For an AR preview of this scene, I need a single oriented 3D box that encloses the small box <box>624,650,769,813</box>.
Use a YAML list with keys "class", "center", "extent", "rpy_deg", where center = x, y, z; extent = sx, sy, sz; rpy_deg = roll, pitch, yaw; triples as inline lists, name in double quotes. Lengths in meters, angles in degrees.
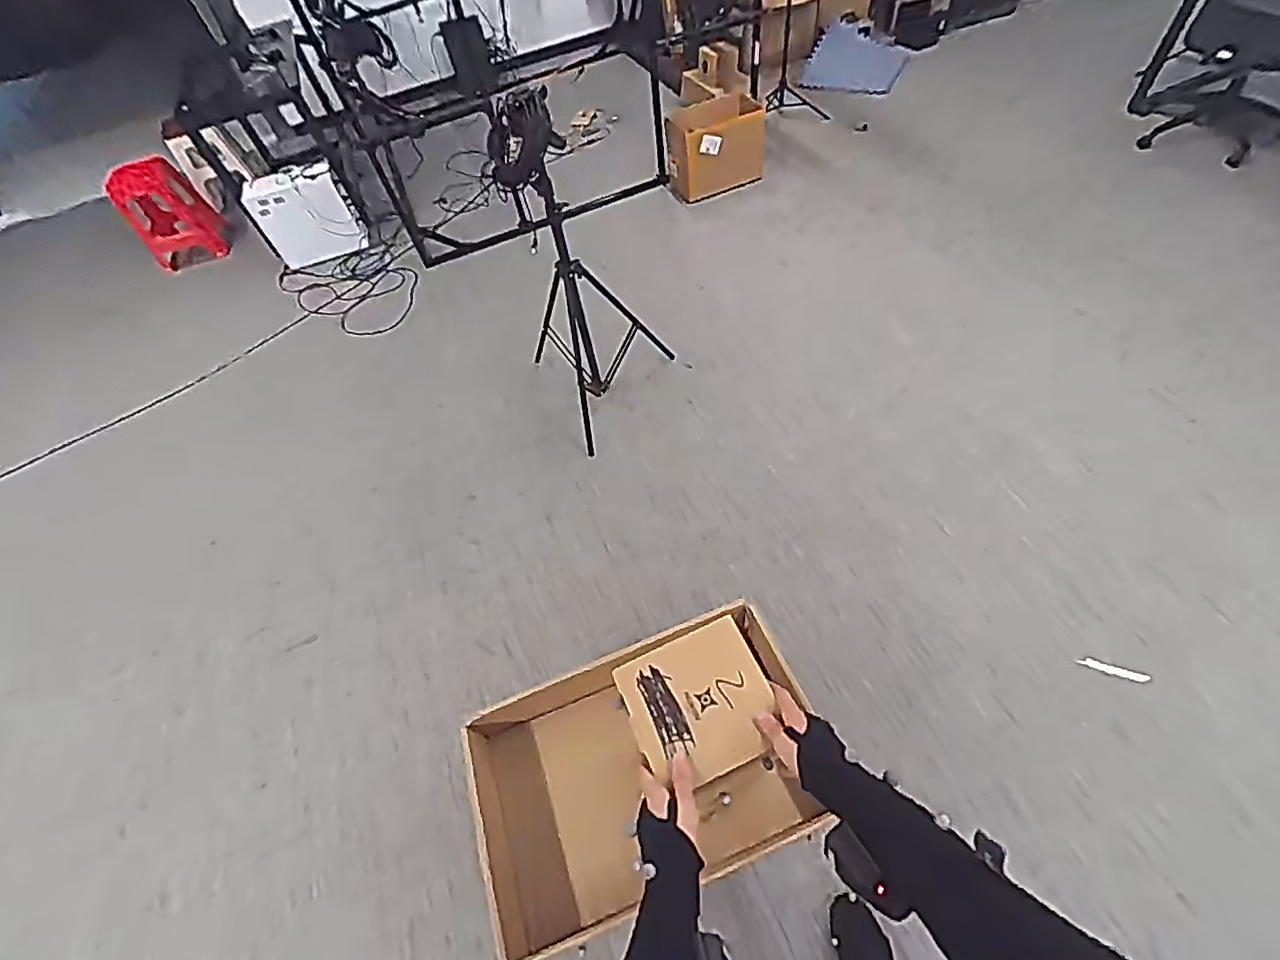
- class: "small box"
  center: [0.089, 0.407, 0.868]
  extent: [0.168, 0.176, 0.179]
  rpy_deg: [-24, 56, -5]
